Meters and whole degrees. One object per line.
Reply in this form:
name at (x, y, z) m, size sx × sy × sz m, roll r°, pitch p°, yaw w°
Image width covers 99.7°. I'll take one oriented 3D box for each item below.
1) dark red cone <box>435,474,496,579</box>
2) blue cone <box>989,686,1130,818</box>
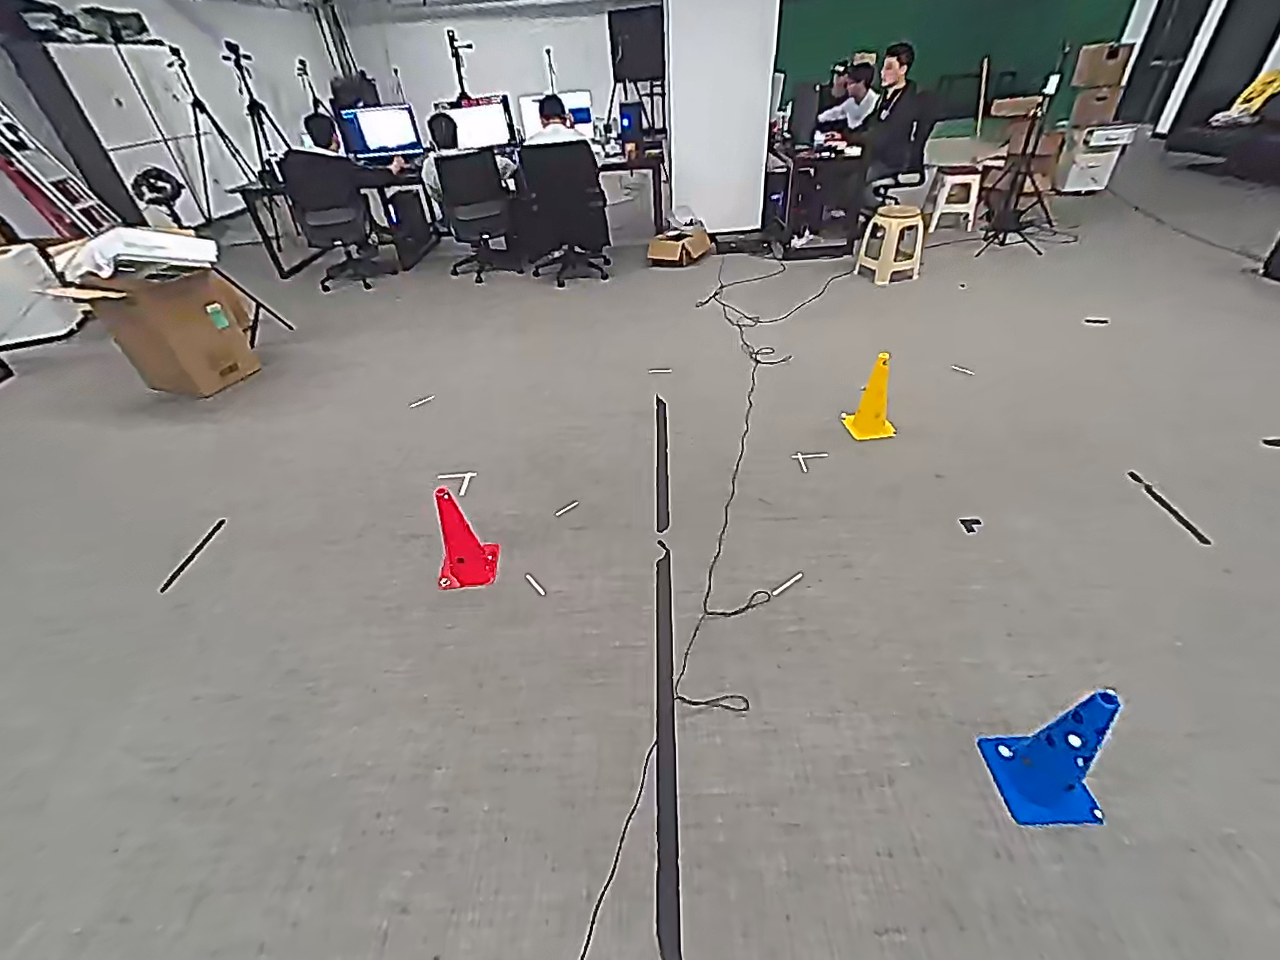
dark red cone at (-0.630, 0.148, 1.843) m, size 0.201 × 0.394 × 0.202 m, roll -6°, pitch 38°, yaw -4°
blue cone at (0.946, 0.569, 1.181) m, size 0.192 × 0.380 × 0.193 m, roll -1°, pitch 38°, yaw 3°
